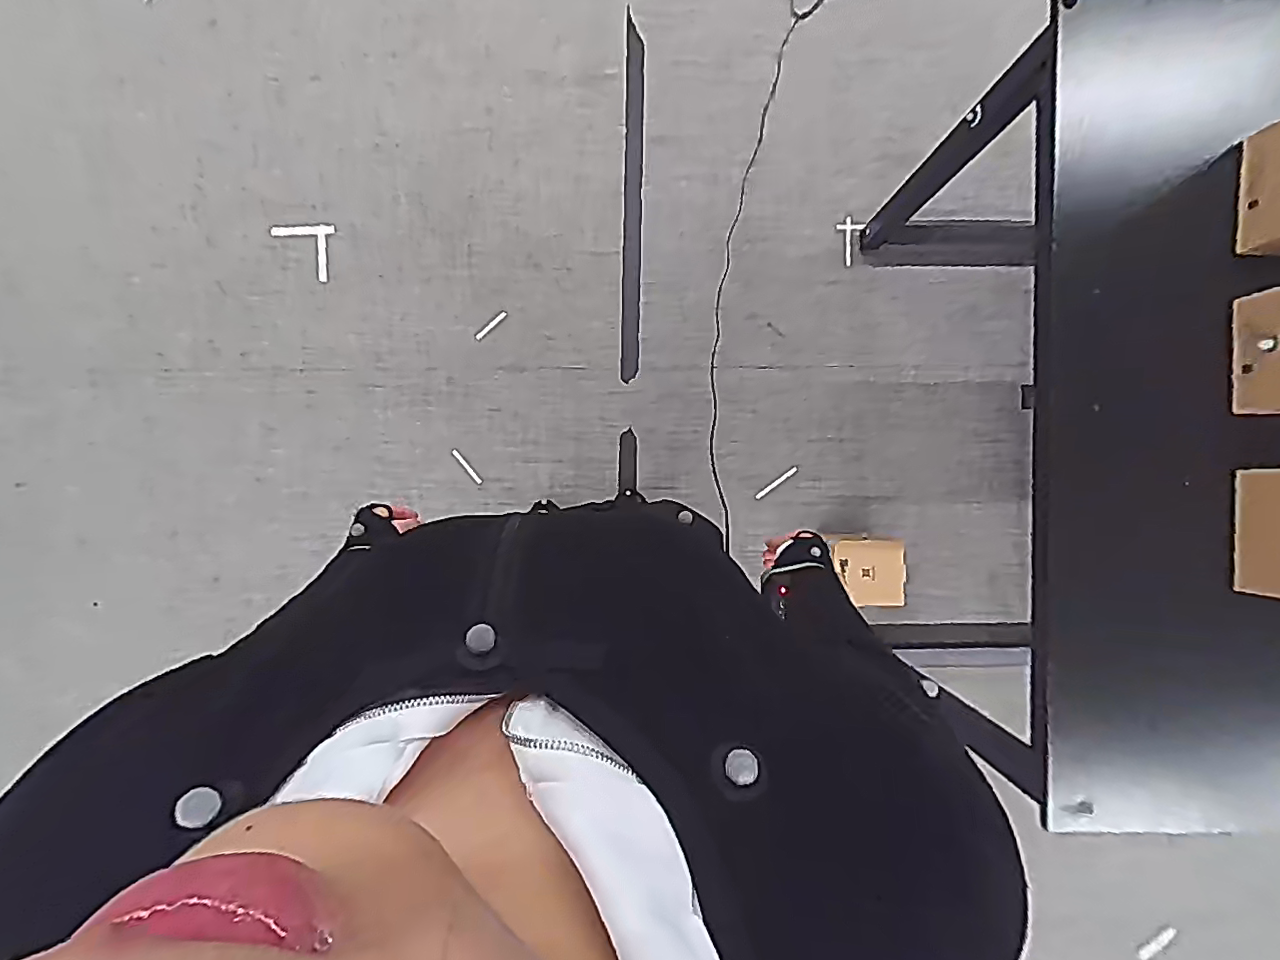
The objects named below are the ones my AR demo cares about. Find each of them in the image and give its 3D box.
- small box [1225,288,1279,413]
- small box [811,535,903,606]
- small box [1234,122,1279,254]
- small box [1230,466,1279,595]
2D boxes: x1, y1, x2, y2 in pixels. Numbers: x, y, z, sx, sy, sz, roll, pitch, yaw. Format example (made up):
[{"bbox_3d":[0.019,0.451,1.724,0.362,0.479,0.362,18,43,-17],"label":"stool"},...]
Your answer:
[{"bbox_3d":[0.930,-0.178,0.696,0.179,0.176,0.168,0,90,1],"label":"small box"},{"bbox_3d":[0.564,0.233,1.421,0.179,0.176,0.168,0,89,-1],"label":"small box"},{"bbox_3d":[0.939,-0.402,0.697,0.179,0.176,0.168,4,91,-1],"label":"small box"},{"bbox_3d":[0.929,0.071,0.698,0.168,0.176,0.179,1,89,-2],"label":"small box"}]
